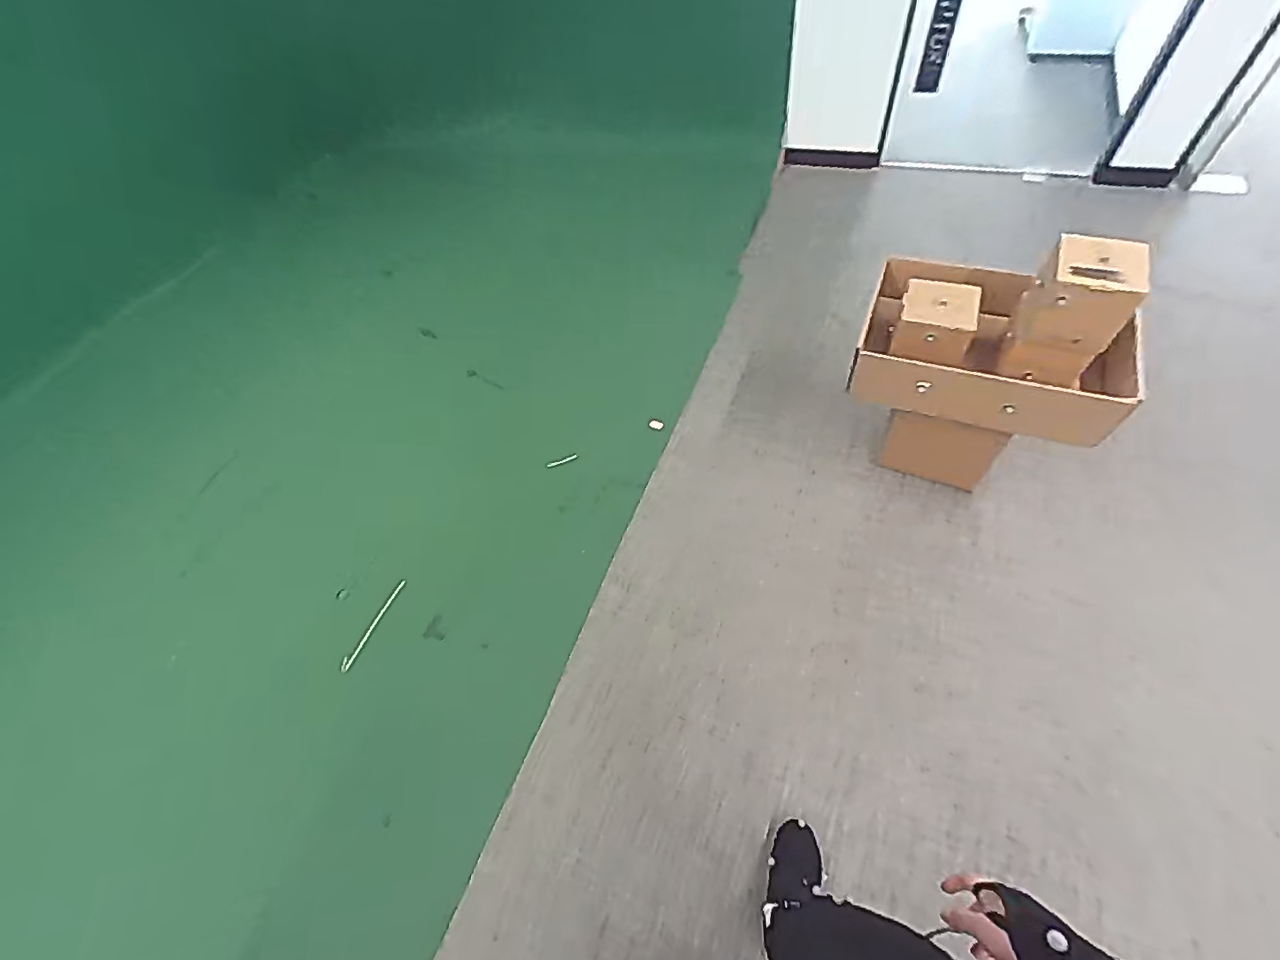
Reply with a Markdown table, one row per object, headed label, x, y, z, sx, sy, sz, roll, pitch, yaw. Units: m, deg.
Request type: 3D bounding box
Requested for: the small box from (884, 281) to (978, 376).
| label | x | y | z | sx | sy | sz | roll | pitch | yaw |
| --- | --- | --- | --- | --- | --- | --- | --- | --- | --- |
| small box | 0.775 | -0.403 | 1.453 | 0.179 | 0.176 | 0.168 | 16 | 61 | 16 |
